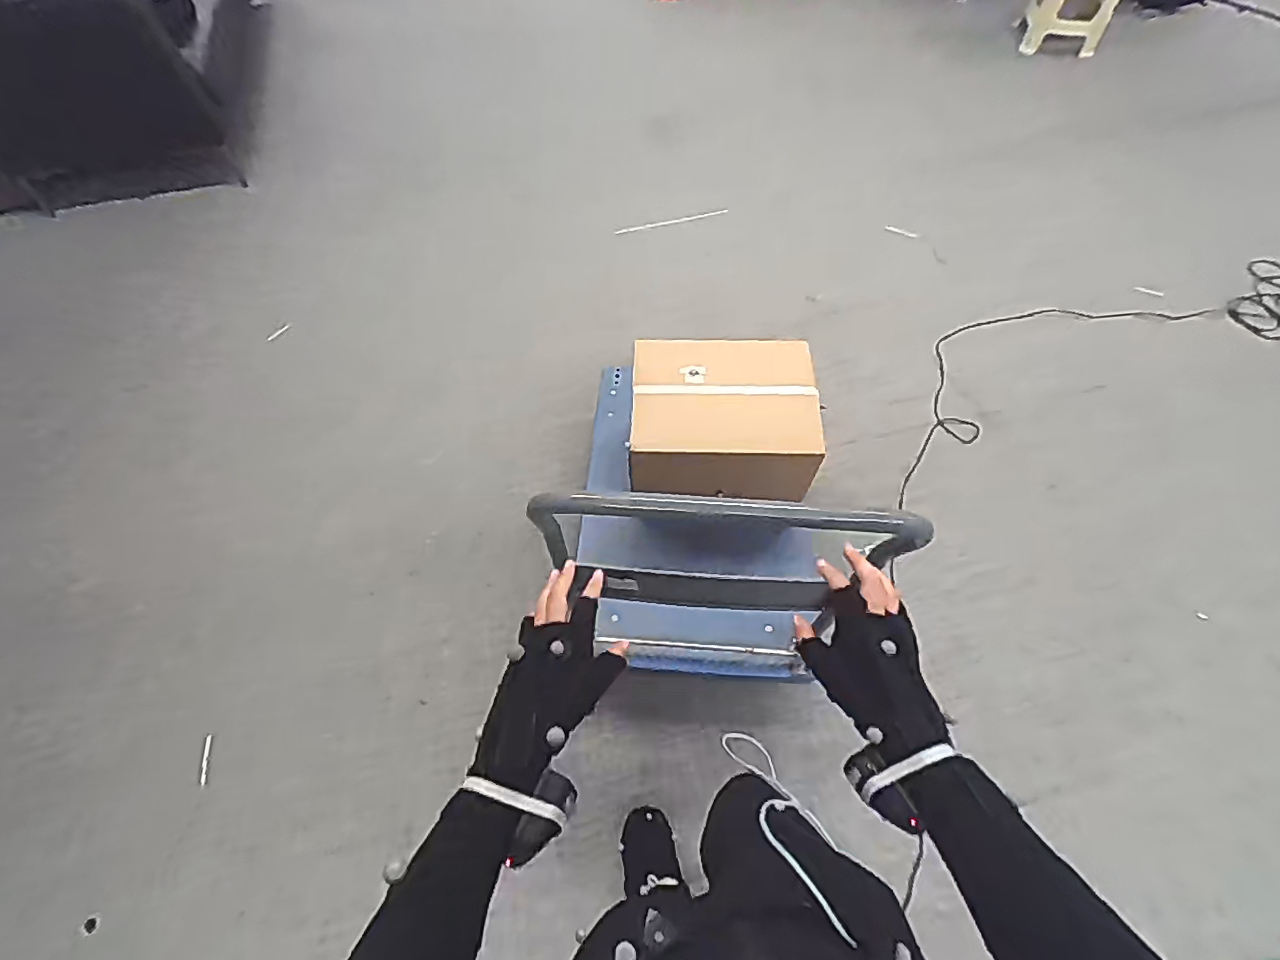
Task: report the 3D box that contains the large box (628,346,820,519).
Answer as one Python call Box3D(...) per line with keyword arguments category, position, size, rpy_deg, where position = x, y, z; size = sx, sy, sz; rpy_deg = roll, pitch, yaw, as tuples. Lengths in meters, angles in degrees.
Box3D(category="large box", position=(0.187, -0.104, 1.319), size=(0.408, 0.320, 0.320), rpy_deg=(0, 59, 4))
